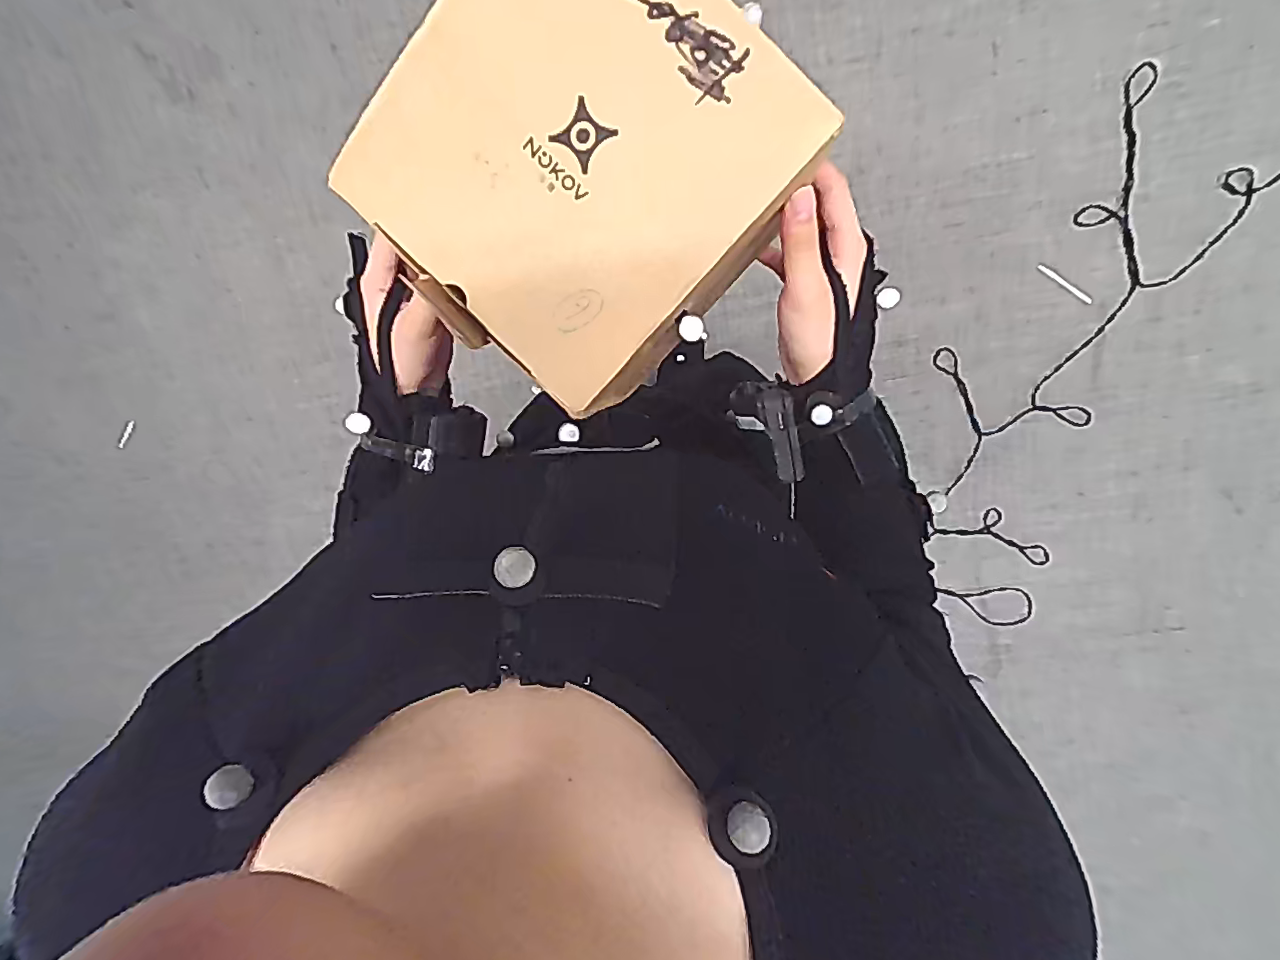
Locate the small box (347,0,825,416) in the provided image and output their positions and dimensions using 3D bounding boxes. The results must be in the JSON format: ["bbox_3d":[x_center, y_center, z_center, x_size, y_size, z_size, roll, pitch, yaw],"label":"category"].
[{"bbox_3d":[-0.021,-0.162,0.330,0.168,0.176,0.179,43,103,-4],"label":"small box"}]
